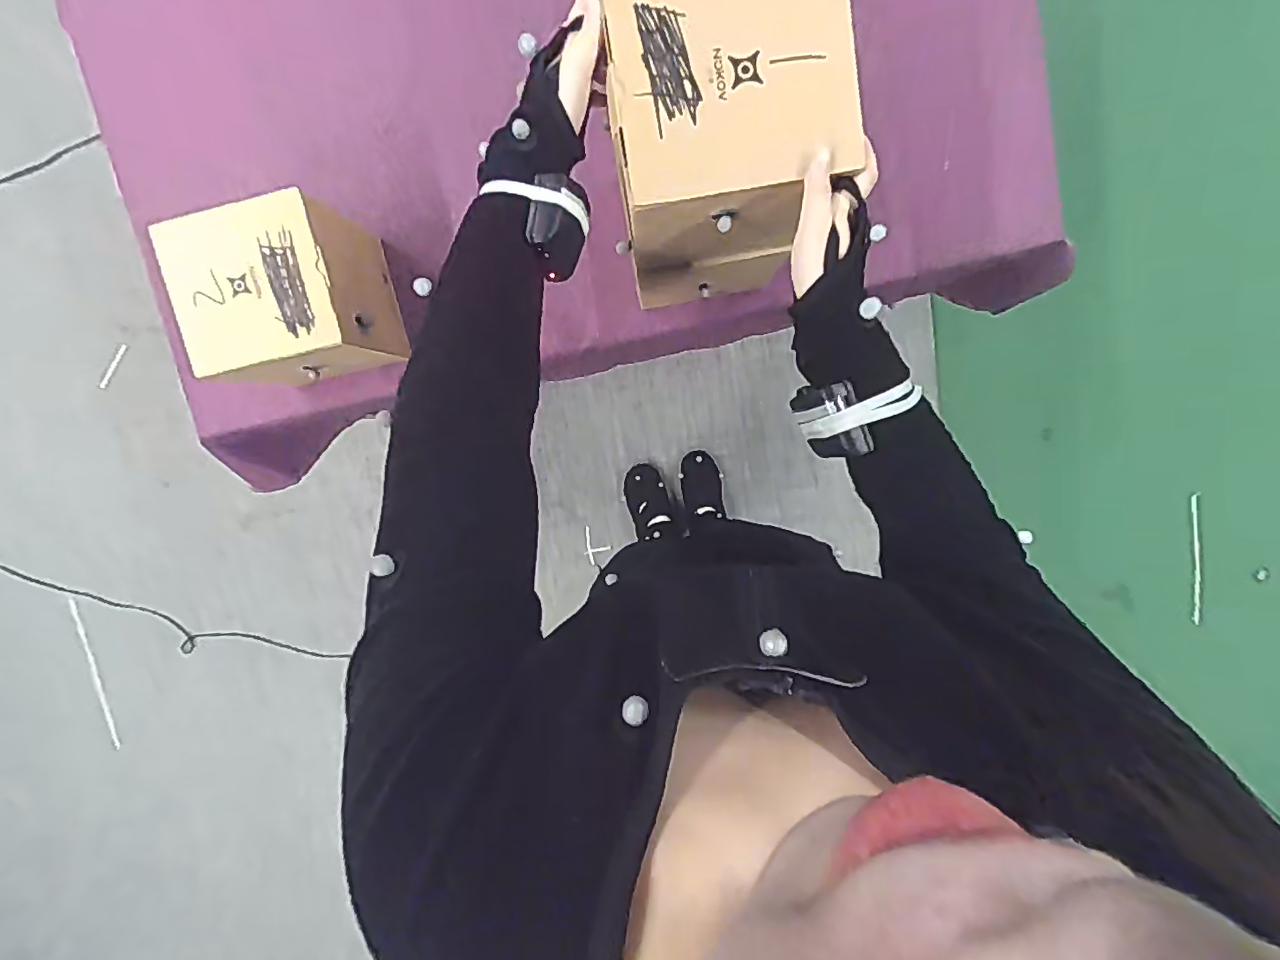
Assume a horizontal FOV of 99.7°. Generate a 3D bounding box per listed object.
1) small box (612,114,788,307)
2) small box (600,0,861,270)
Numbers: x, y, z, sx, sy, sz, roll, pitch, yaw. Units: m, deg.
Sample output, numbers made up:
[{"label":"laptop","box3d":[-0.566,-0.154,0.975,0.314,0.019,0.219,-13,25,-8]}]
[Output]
[{"label":"small box","box3d":[0.066,-0.312,0.639,0.168,0.176,0.179,-9,96,2]},{"label":"small box","box3d":[0.069,-0.298,0.474,0.179,0.176,0.168,-8,96,2]}]
